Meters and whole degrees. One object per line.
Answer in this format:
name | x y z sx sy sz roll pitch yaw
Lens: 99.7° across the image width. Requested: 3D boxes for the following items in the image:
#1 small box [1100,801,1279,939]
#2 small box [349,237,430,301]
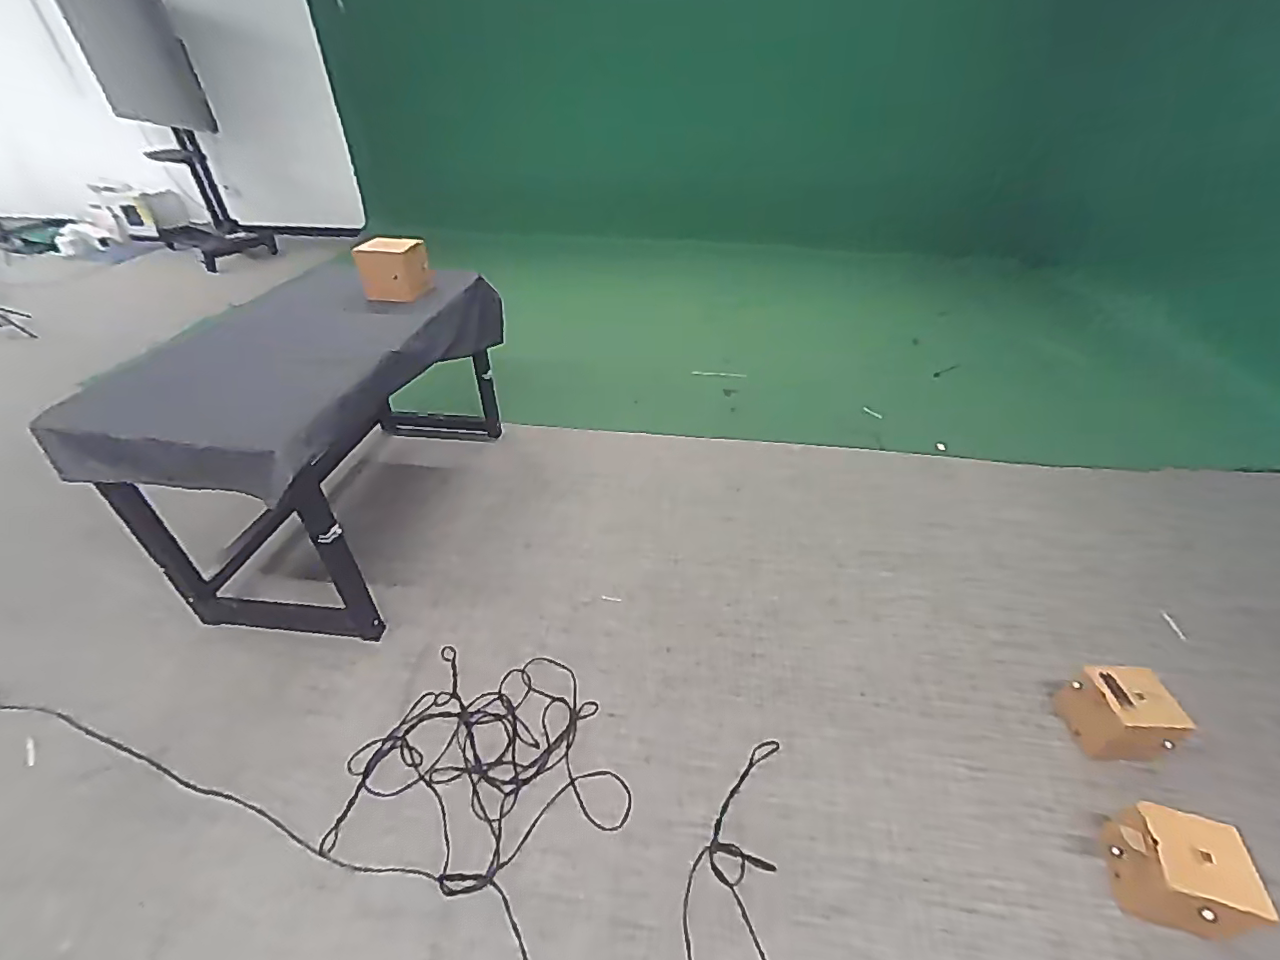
small box | 1.111 0.804 1.112 0.179 0.176 0.168 11 40 14
small box | -0.854 -0.726 1.865 0.179 0.176 0.168 4 37 7
